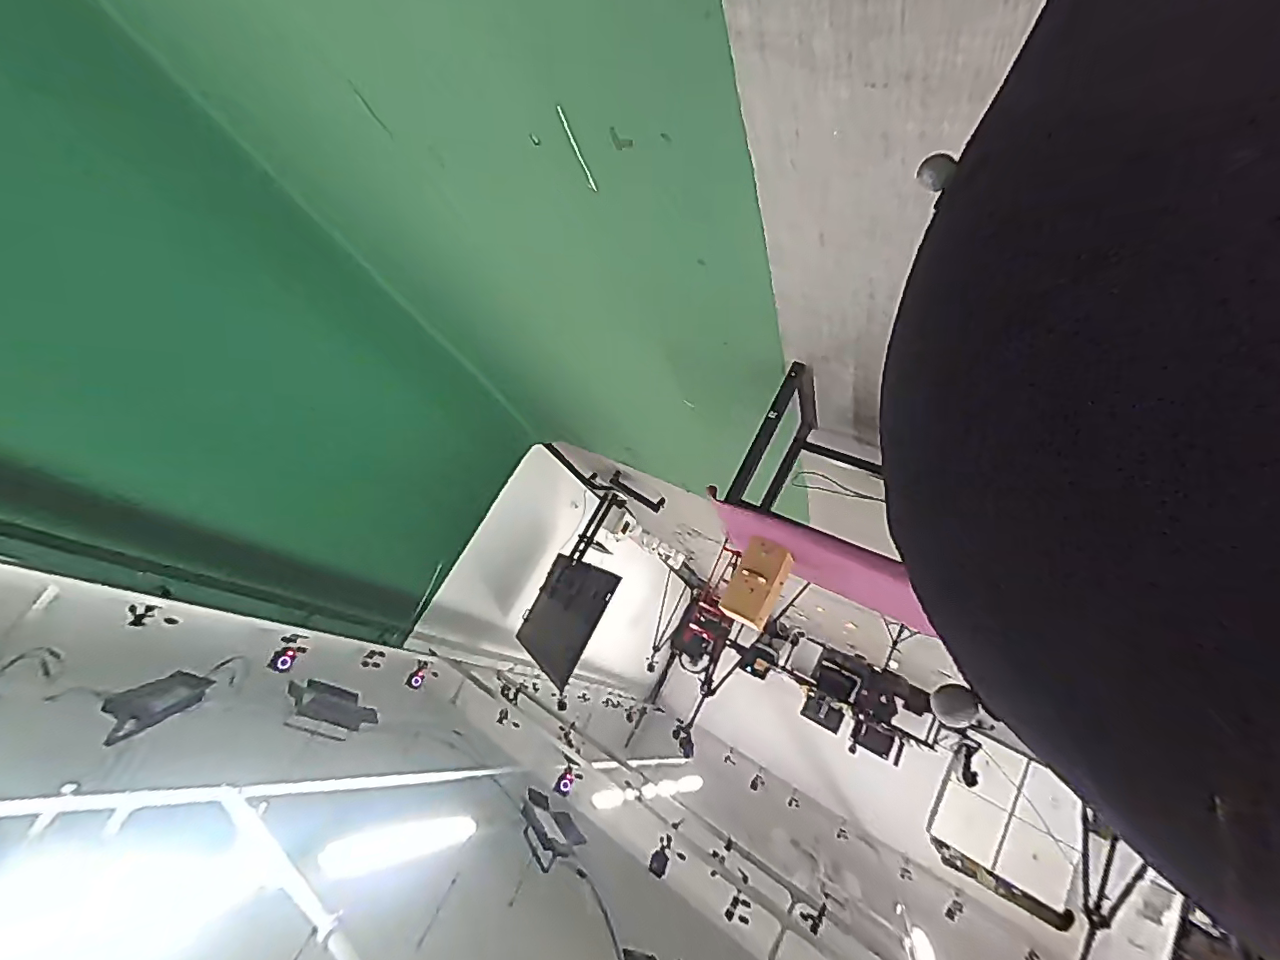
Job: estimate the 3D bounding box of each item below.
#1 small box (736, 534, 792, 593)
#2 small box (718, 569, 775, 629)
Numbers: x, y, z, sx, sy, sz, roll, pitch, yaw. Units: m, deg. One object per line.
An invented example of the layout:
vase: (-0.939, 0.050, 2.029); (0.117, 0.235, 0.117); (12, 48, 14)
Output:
small box: (0.526, 0.351, 2.274); (0.168, 0.176, 0.179); (20, 164, 29)
small box: (0.448, 0.491, 2.241); (0.168, 0.176, 0.179); (21, 164, 29)
